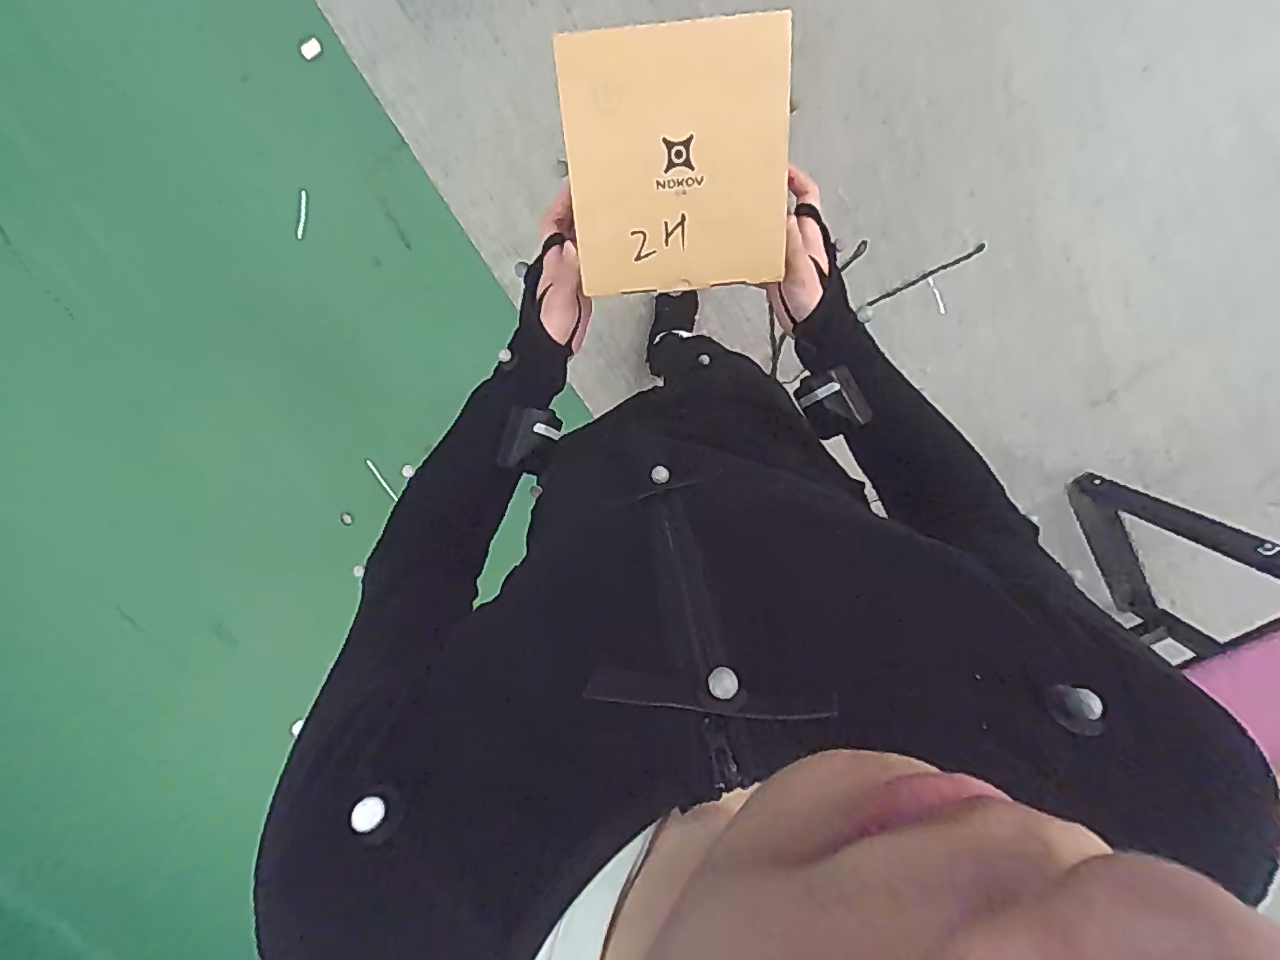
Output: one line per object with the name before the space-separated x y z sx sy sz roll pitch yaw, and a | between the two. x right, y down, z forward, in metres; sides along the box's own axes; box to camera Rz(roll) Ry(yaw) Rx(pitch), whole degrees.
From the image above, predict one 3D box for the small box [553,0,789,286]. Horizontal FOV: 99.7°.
small box | 0.026 -0.272 0.472 0.168 0.176 0.179 -4 114 3
